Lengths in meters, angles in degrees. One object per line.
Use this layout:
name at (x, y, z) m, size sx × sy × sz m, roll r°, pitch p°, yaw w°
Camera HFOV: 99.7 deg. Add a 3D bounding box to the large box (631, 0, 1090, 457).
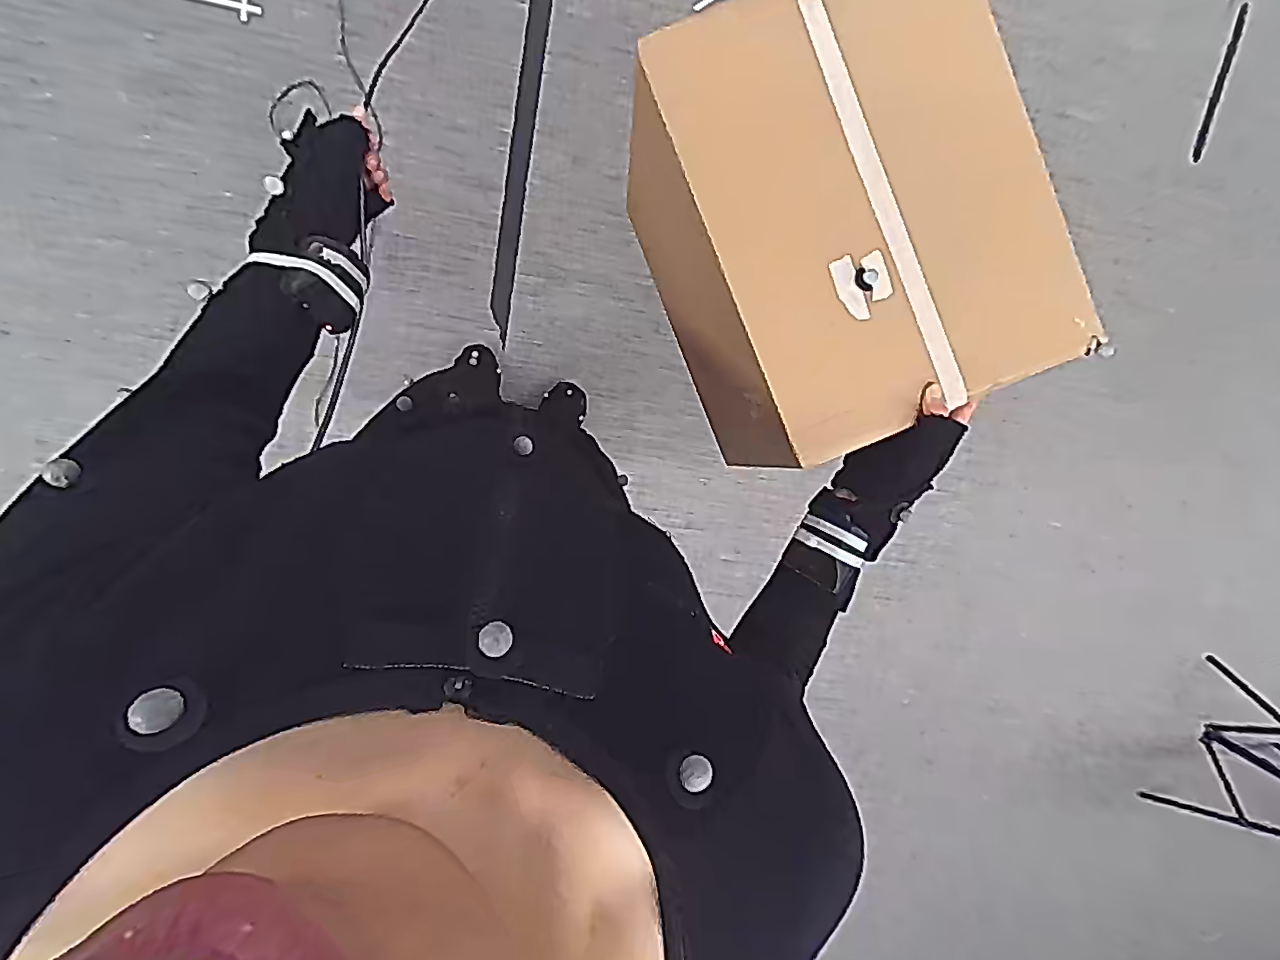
large box at (0.209, -0.267, 0.650) m, size 0.320 × 0.320 × 0.408 m, roll -22°, pitch 93°, yaw -1°
